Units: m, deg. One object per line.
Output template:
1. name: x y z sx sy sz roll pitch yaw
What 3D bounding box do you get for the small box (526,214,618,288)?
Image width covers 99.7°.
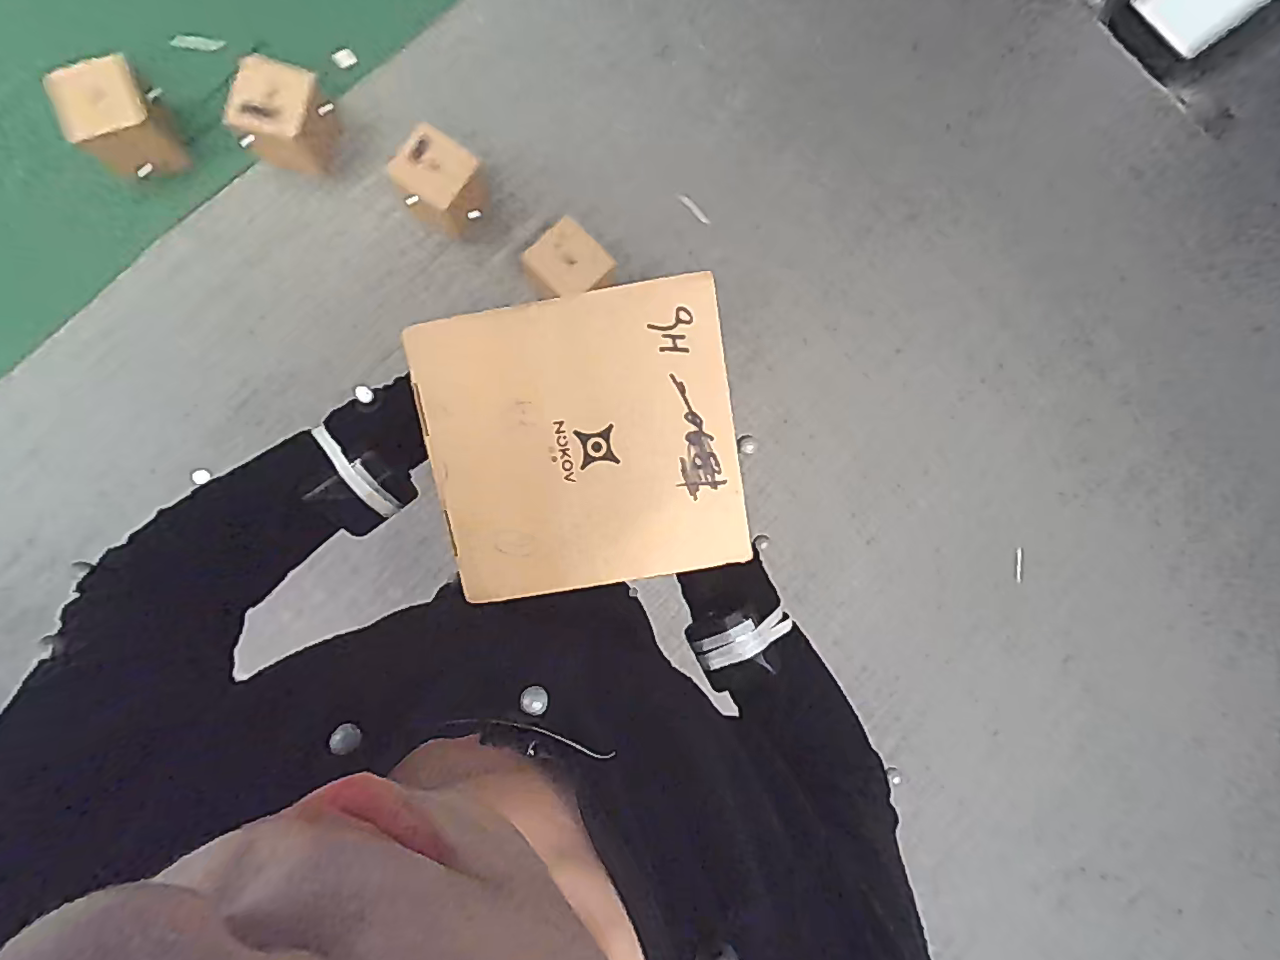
1. small box: -0.177 -0.550 1.430 0.168 0.176 0.179 -44 92 -7

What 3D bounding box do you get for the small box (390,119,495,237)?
1. small box: -0.505 -0.775 1.409 0.179 0.176 0.168 34 84 -4

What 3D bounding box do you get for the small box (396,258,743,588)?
1. small box: -0.035 -0.041 0.385 0.179 0.176 0.168 -10 101 4

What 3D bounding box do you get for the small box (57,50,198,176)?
1. small box: -1.258 -0.901 1.341 0.168 0.176 0.179 -20 89 -6
